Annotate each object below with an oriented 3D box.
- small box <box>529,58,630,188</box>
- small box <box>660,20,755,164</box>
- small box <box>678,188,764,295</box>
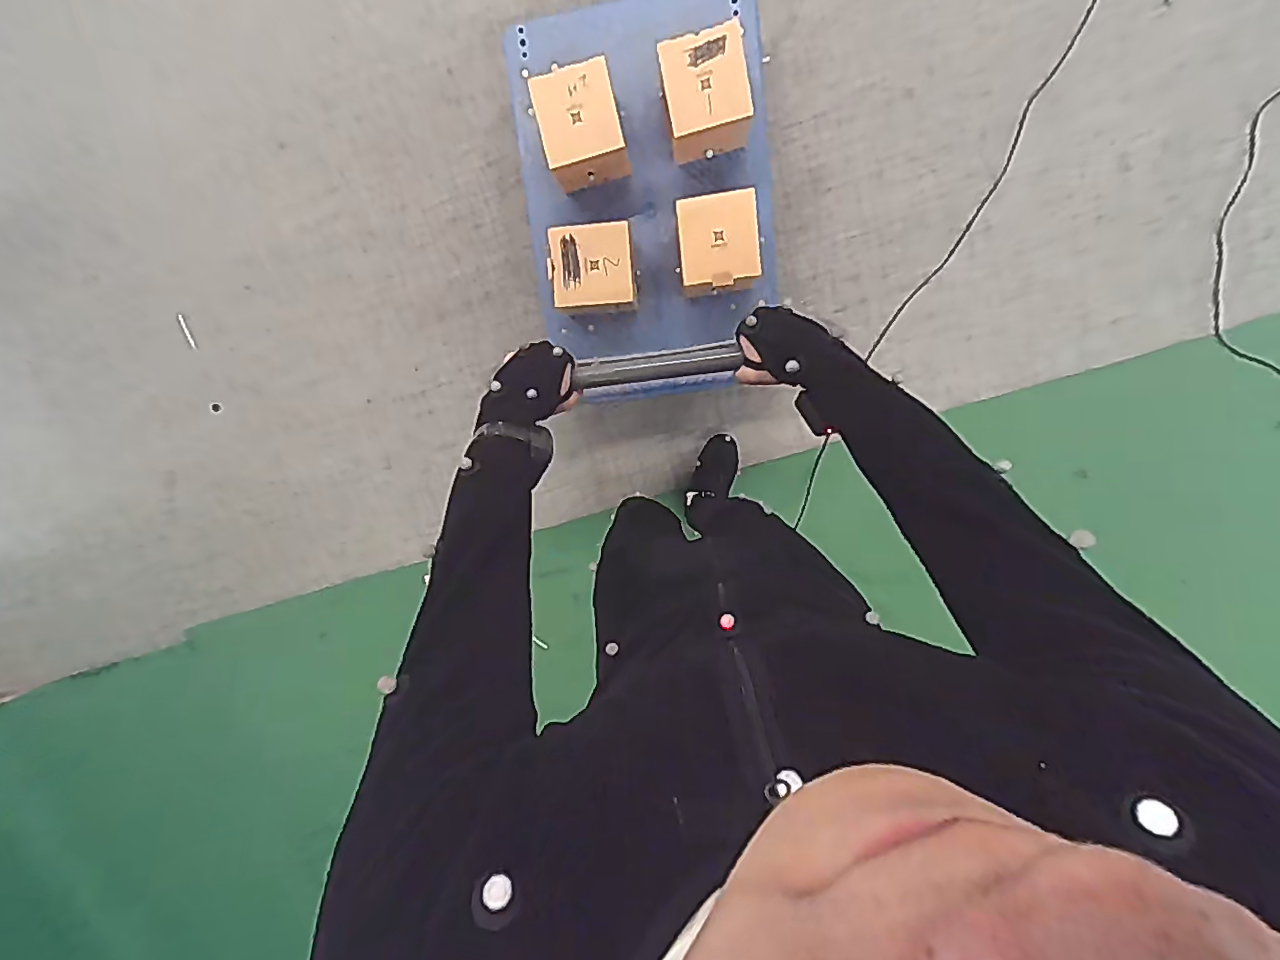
[{"bbox_3d":[-0.122,-0.761,1.179,0.168,0.176,0.179,-13,101,6],"label":"small box"},{"bbox_3d":[0.138,-0.811,1.149,0.168,0.176,0.179,-12,102,7],"label":"small box"},{"bbox_3d":[0.175,-0.523,1.208,0.168,0.176,0.179,-7,102,5],"label":"small box"}]
